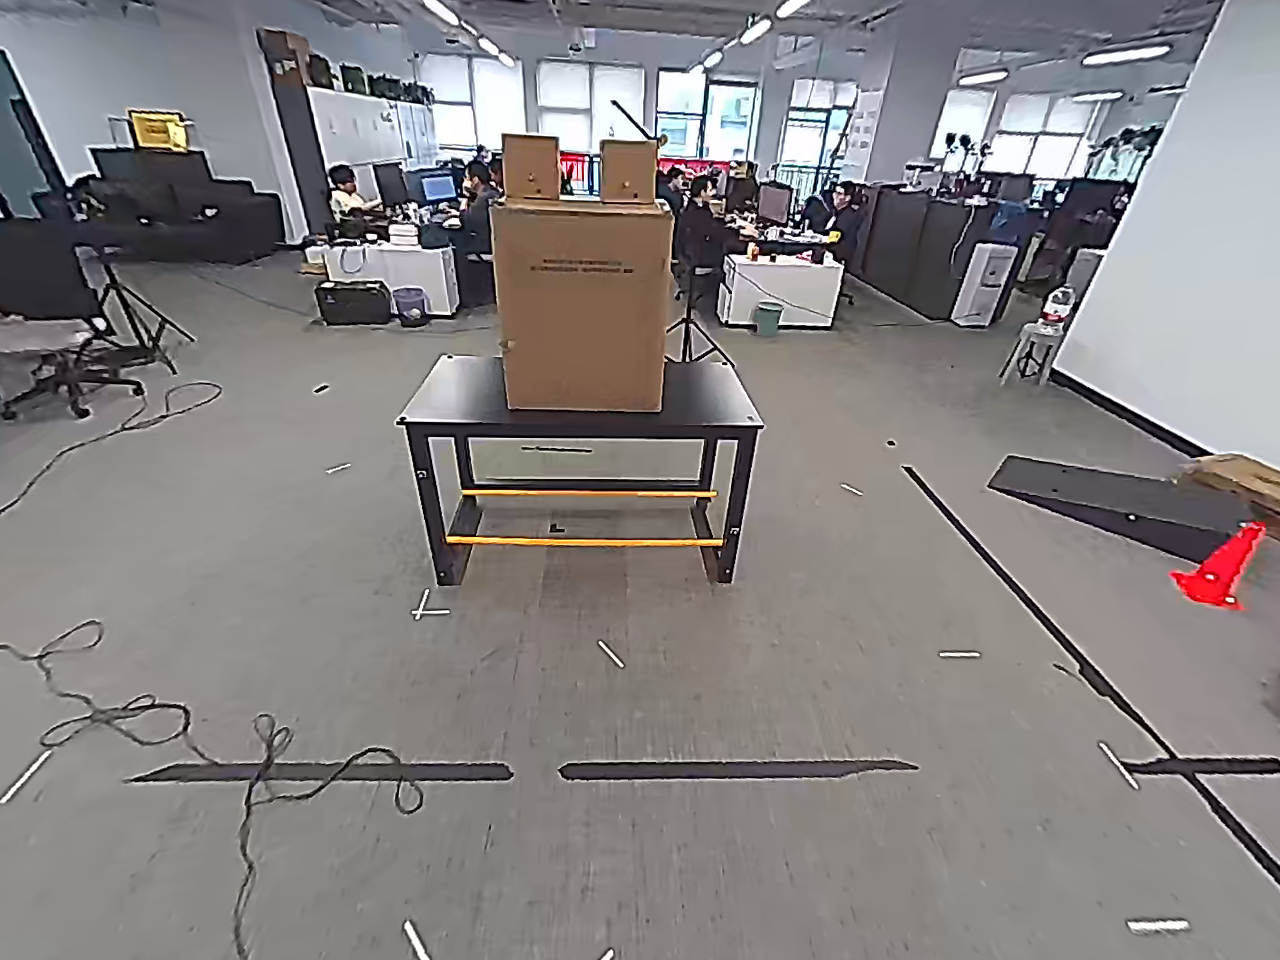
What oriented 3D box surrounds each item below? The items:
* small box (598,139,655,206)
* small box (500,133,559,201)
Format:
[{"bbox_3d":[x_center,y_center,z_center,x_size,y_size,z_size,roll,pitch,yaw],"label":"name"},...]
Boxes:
[{"bbox_3d":[-0.048,-0.963,1.690,0.168,0.176,0.179,-2,32,-6],"label":"small box"},{"bbox_3d":[-0.341,-0.981,1.696,0.168,0.176,0.179,0,31,-6],"label":"small box"}]
